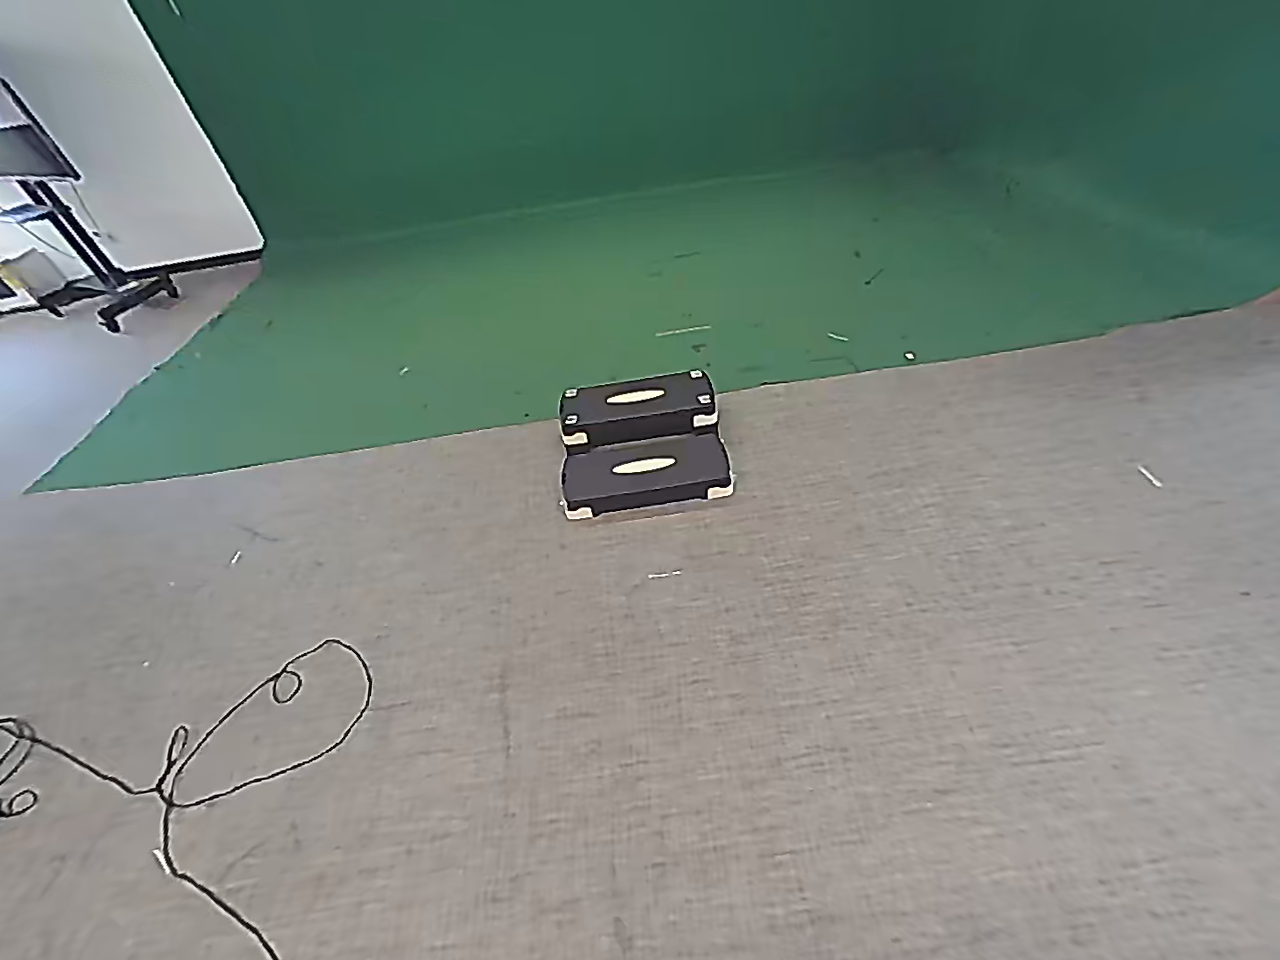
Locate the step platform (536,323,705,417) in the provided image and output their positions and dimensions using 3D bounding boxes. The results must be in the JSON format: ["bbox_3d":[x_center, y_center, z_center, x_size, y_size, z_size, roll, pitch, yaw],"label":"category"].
[{"bbox_3d":[-0.073,-0.459,2.253,0.684,0.204,0.286,-9,44,1],"label":"step platform"}]
